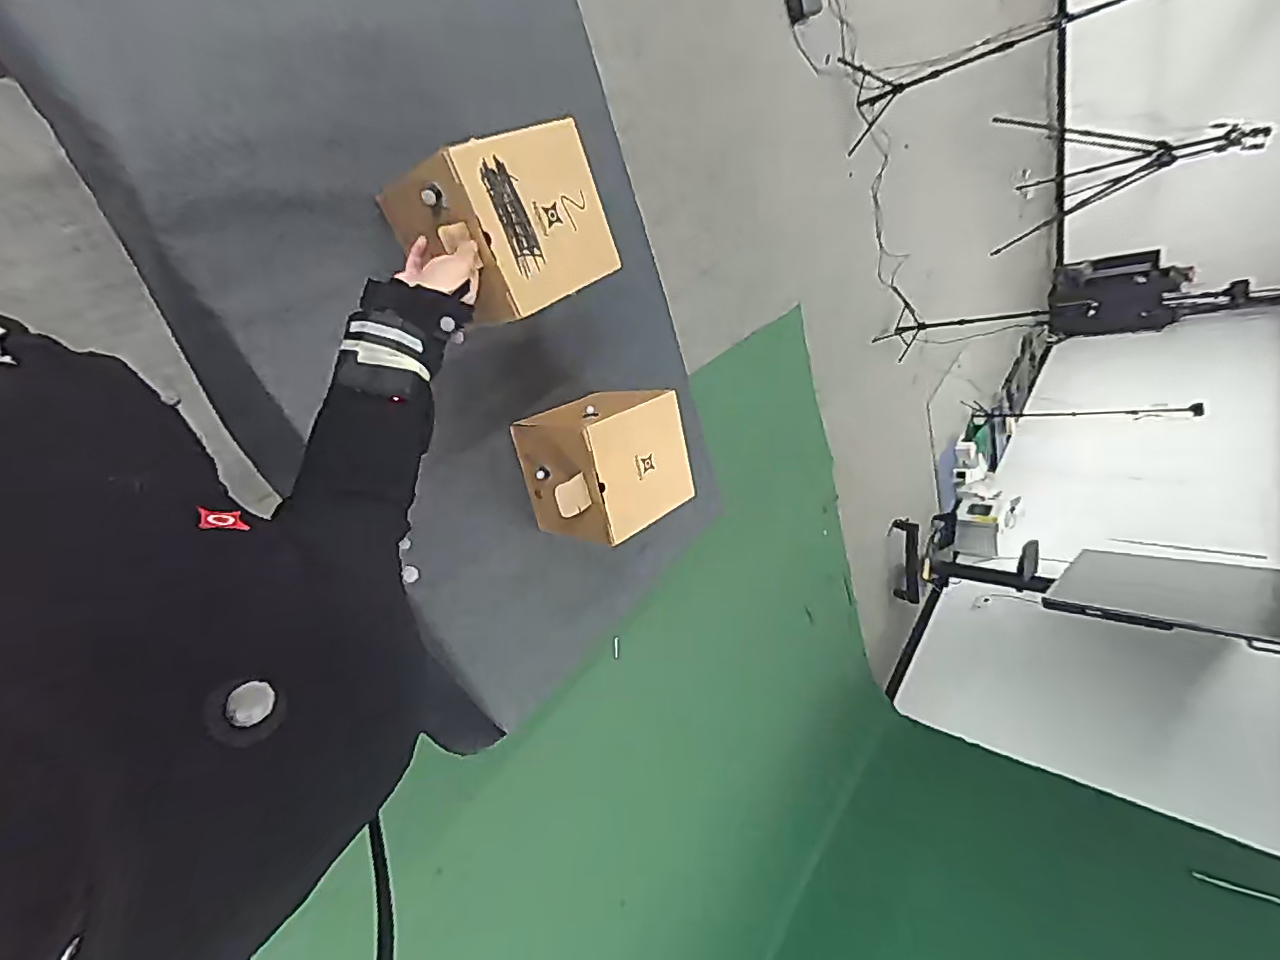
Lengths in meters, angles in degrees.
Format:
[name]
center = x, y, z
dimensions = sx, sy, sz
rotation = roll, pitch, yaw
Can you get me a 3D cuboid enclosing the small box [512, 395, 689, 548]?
[small box]
center = -0.055, -0.025, 0.789
dimensions = 0.179, 0.176, 0.168
rotation = -29, 115, -39
